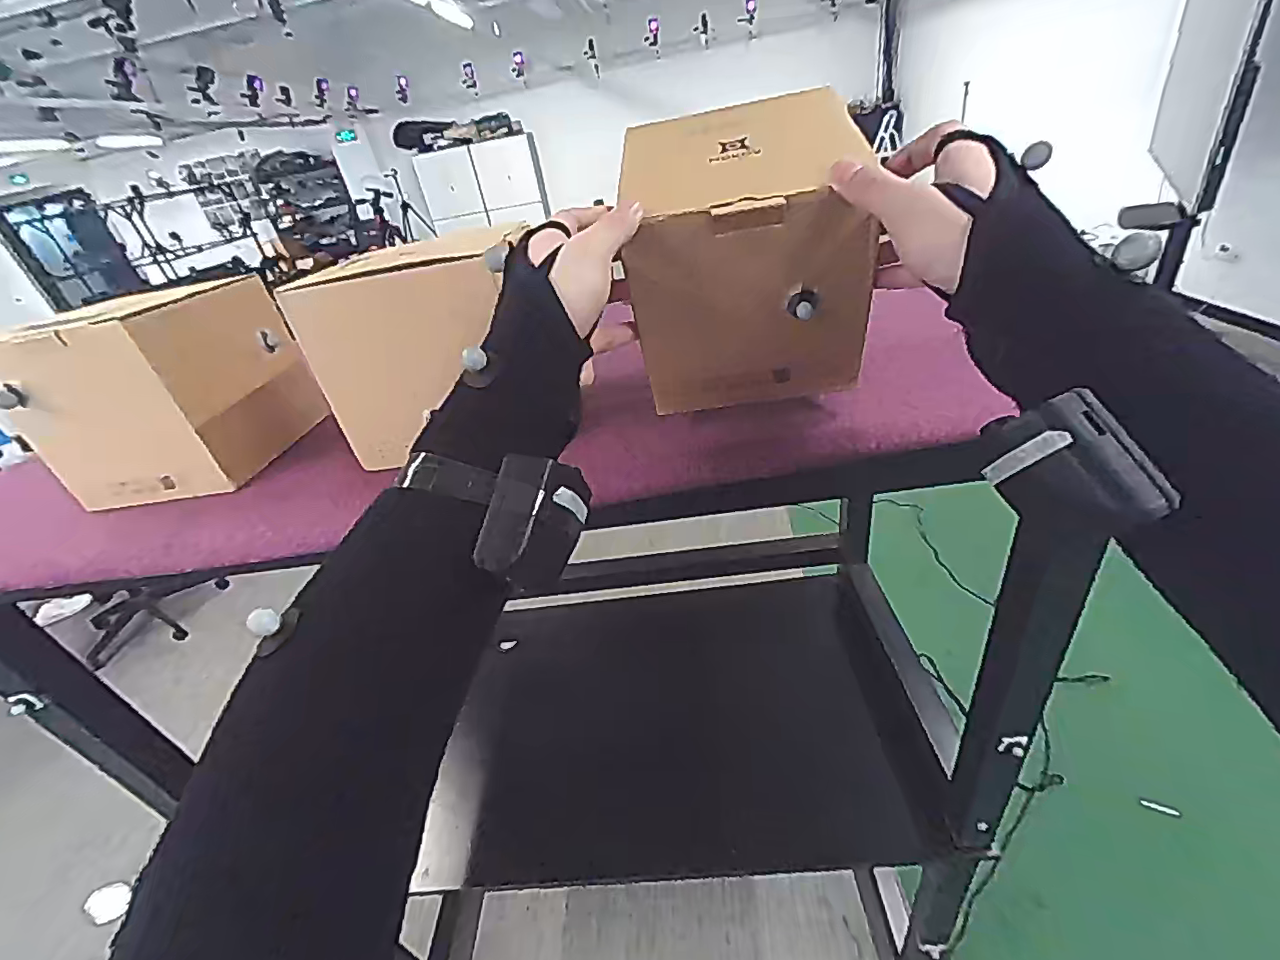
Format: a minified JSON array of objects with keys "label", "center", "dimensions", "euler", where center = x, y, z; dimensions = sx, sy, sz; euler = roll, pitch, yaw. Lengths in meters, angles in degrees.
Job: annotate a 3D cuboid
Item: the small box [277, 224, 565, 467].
[{"label":"small box","center":[-0.178,-0.128,0.511],"dimensions":[0.179,0.176,0.168],"euler":[-7,31,6]}]
